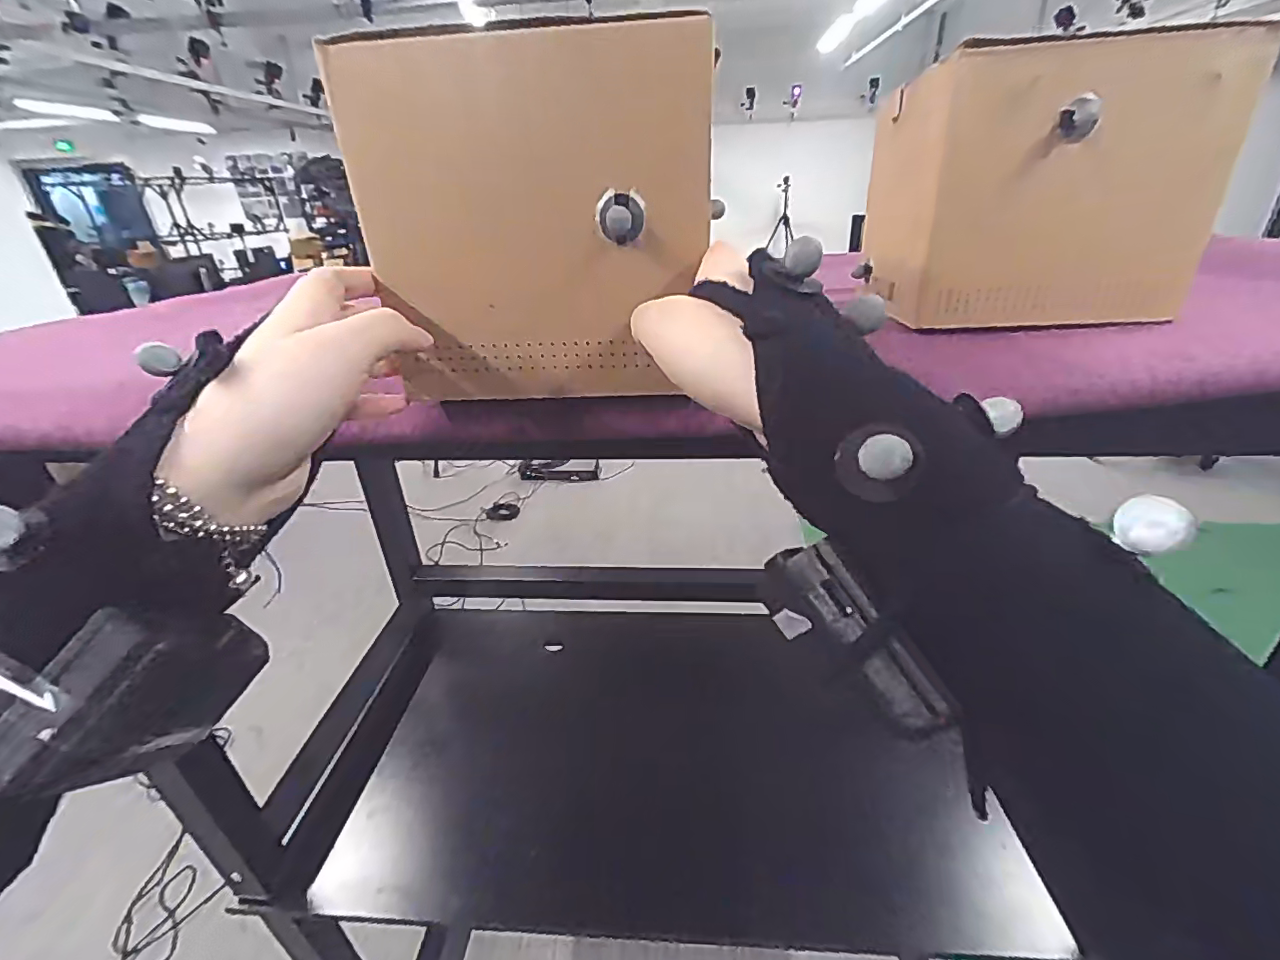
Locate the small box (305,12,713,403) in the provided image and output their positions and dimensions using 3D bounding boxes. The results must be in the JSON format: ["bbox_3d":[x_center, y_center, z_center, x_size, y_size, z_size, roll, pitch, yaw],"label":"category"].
[{"bbox_3d":[-0.050,-0.153,0.332,0.179,0.176,0.168,-2,28,4],"label":"small box"}]

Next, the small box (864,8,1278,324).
[{"bbox_3d":[0.282,-0.218,0.412,0.179,0.176,0.168,0,27,6],"label":"small box"}]
